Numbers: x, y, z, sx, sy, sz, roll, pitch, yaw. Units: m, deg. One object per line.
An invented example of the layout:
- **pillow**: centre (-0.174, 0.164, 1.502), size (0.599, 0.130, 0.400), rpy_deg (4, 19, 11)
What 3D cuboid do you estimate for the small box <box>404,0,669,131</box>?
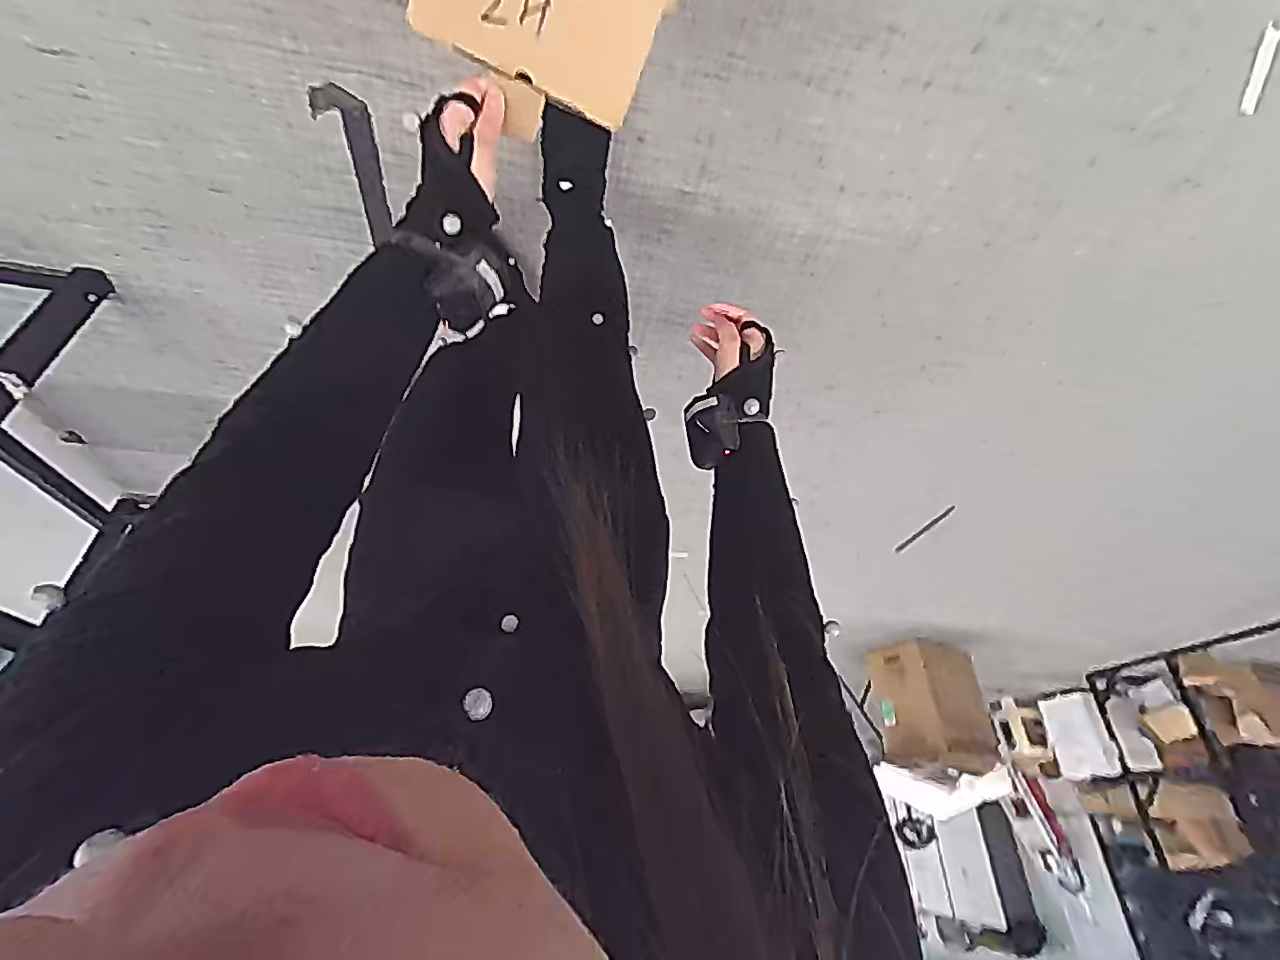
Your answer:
- **small box**: centre (-0.070, -0.408, 0.406), size (0.168, 0.176, 0.179), rpy_deg (11, 128, -26)
